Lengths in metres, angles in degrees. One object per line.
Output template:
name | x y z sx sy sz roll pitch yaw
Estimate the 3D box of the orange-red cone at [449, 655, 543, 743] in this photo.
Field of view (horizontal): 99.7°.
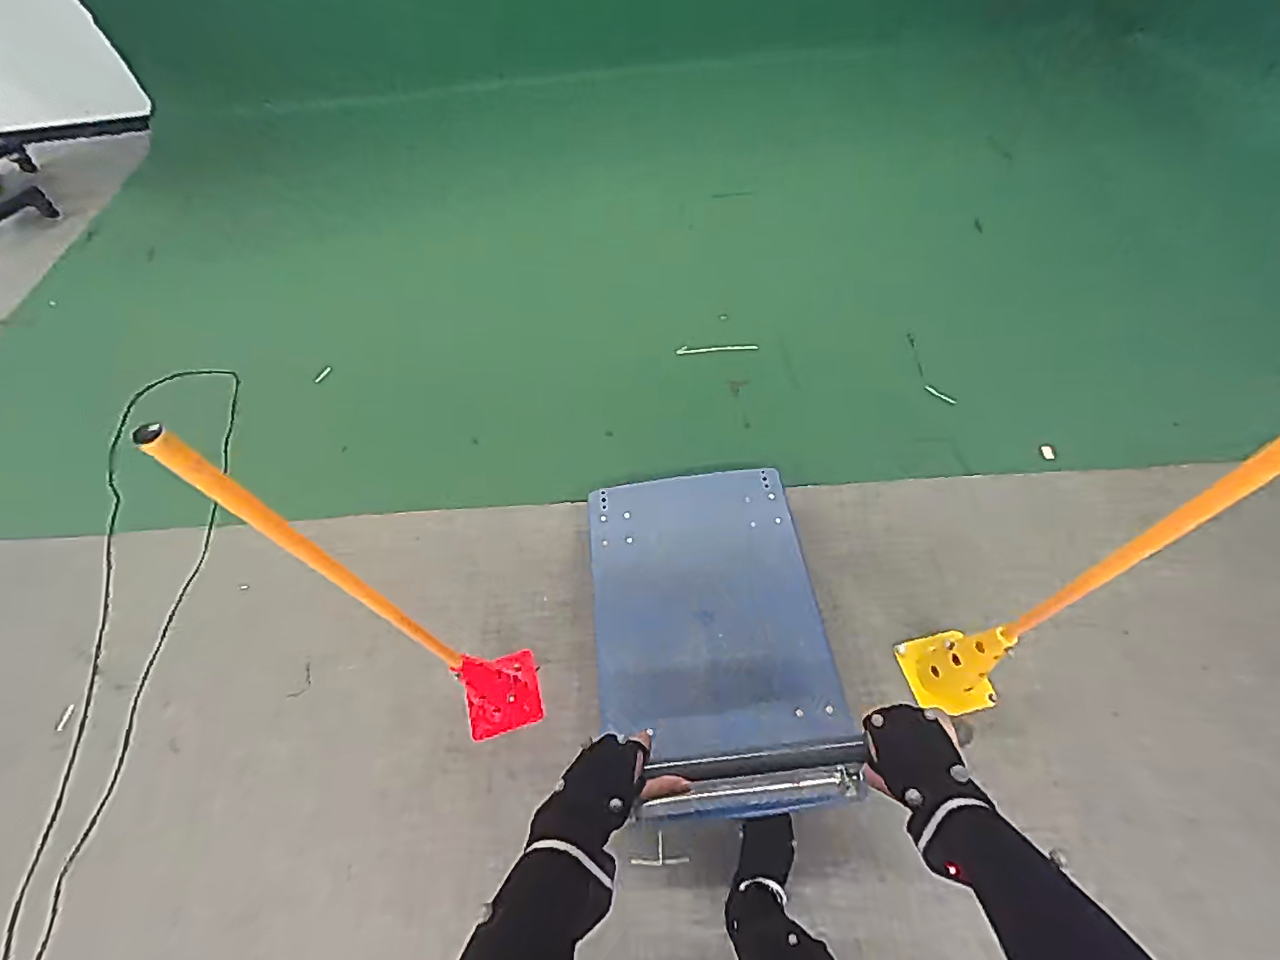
orange-red cone | -0.389 0.506 1.339 0.199 0.360 0.198 -17 57 -4
